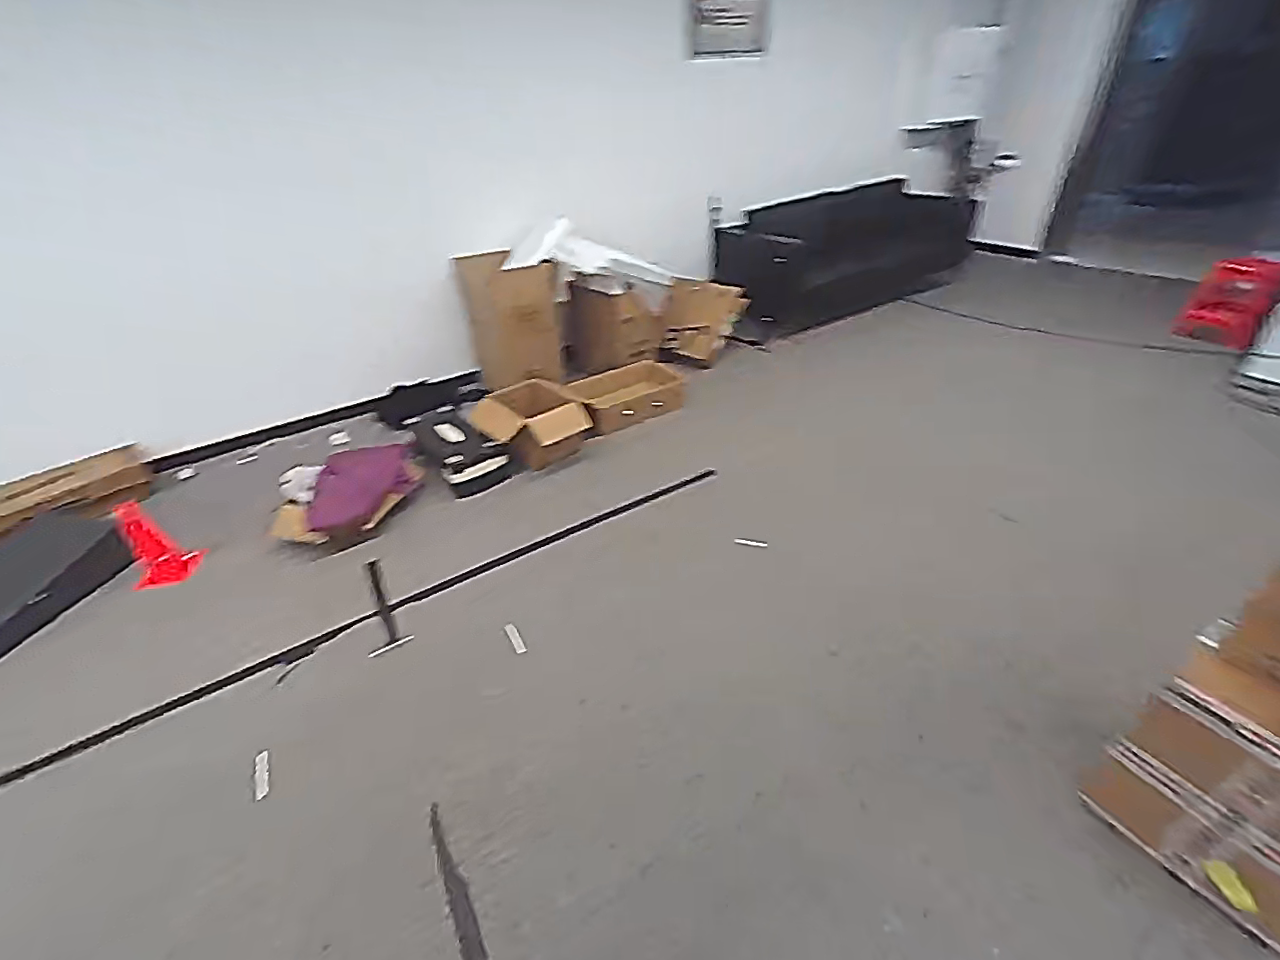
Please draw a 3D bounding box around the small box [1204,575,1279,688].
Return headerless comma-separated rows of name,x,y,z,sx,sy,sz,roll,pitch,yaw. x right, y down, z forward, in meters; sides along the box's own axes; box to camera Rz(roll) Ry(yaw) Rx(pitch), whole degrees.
small box,1.317,0.296,1.101,0.179,0.176,0.168,-25,38,-23
